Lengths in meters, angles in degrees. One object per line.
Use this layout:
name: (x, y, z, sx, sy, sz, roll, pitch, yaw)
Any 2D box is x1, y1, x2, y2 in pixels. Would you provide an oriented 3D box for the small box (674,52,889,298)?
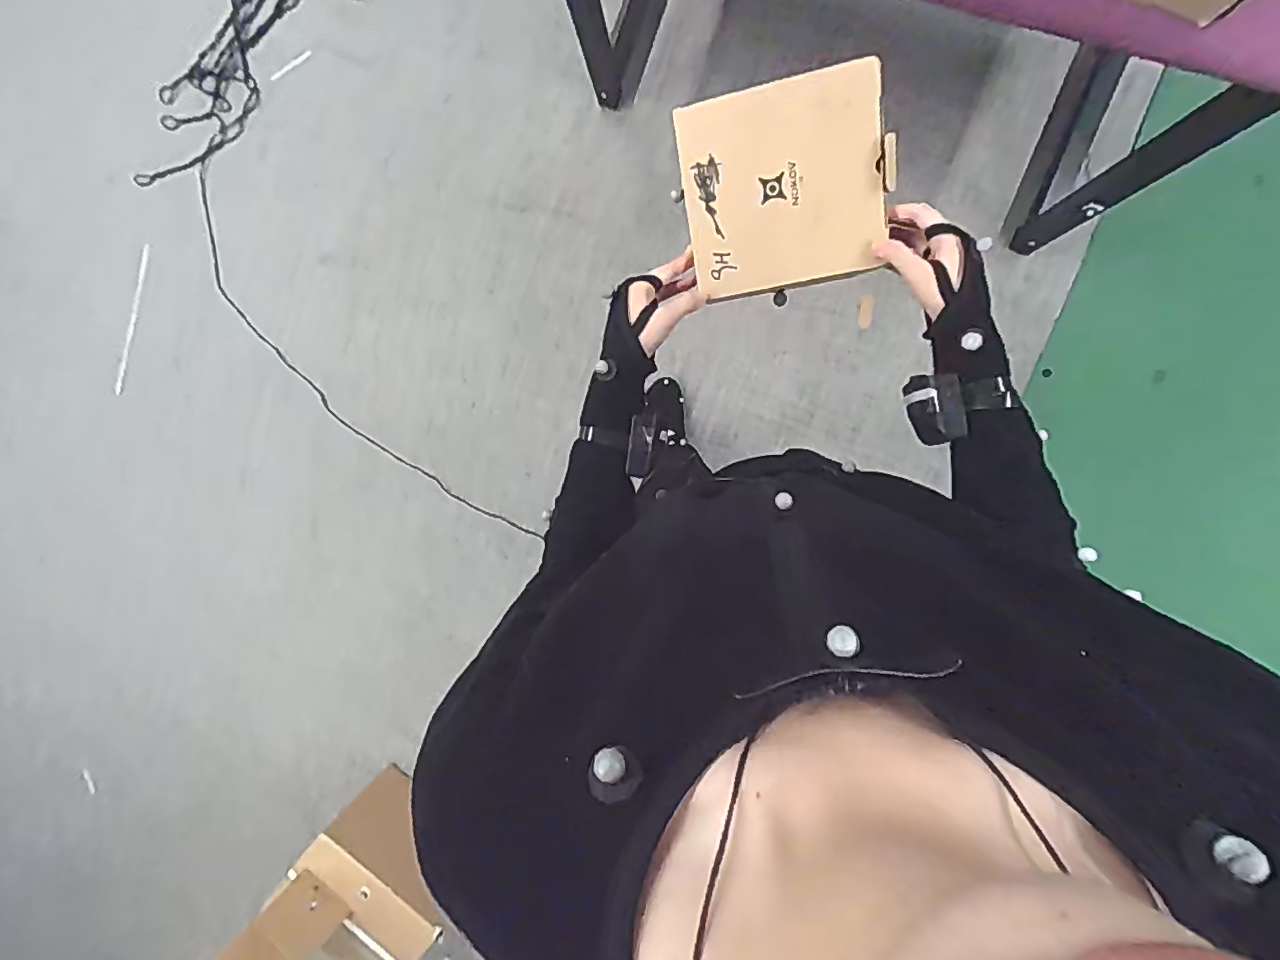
small box: (0.136, -0.287, 0.552, 0.179, 0.176, 0.168, -7, 105, 10)

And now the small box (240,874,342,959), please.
small box: (-0.872, 1.126, 1.314, 0.168, 0.176, 0.179, 39, 99, 3)

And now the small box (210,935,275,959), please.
small box: (-0.901, 1.135, 1.155, 0.179, 0.176, 0.168, 41, 99, 2)
